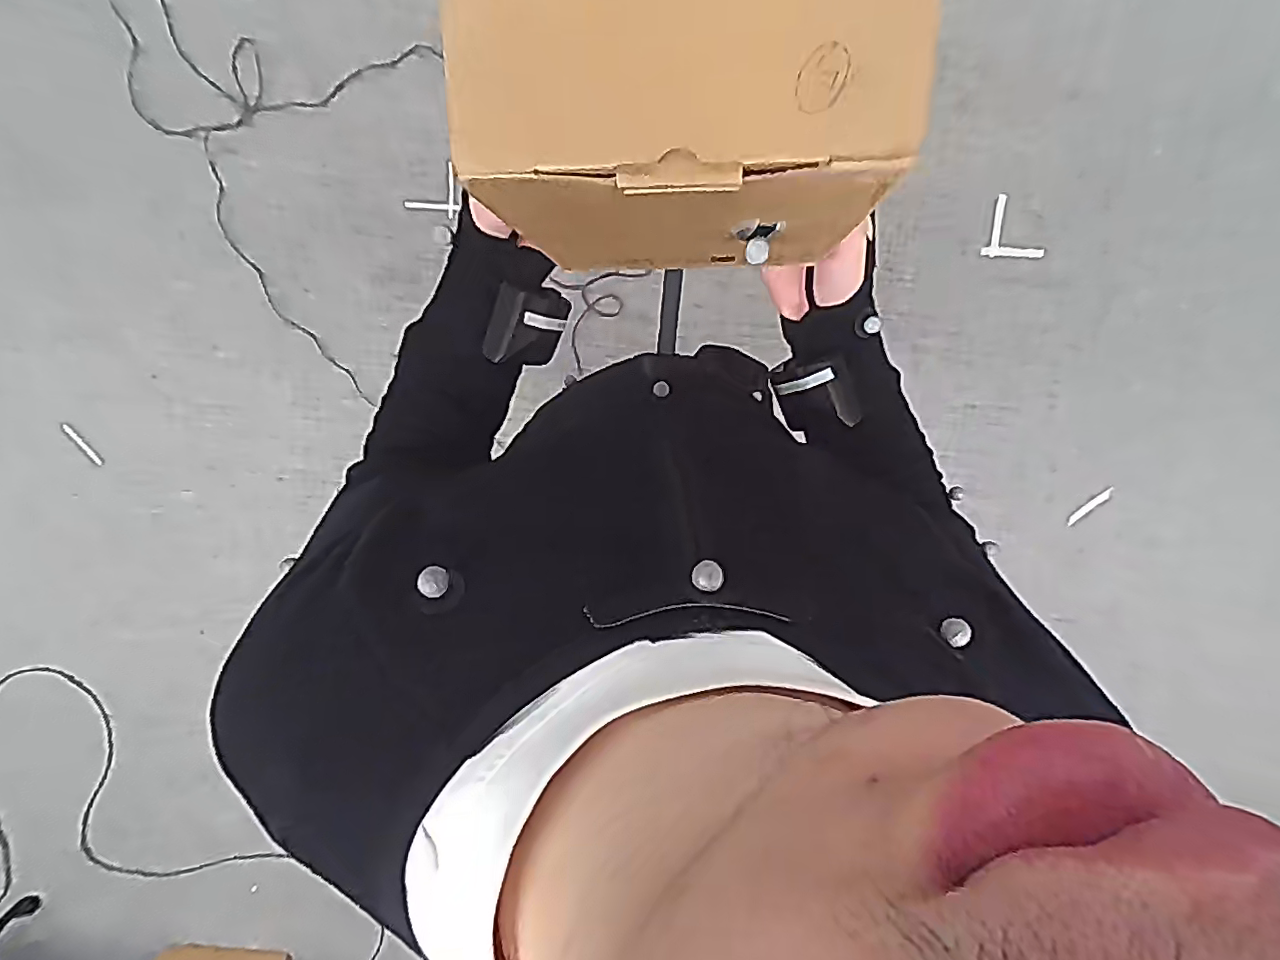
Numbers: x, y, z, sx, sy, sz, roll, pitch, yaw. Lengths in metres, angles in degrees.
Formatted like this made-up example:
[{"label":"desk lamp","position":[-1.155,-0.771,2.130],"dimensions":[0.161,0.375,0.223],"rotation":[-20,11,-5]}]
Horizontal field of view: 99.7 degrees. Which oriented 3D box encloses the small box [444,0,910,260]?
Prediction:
[{"label":"small box","position":[0.019,-0.212,0.262],"dimensions":[0.168,0.176,0.179],"rotation":[0,99,6]}]
